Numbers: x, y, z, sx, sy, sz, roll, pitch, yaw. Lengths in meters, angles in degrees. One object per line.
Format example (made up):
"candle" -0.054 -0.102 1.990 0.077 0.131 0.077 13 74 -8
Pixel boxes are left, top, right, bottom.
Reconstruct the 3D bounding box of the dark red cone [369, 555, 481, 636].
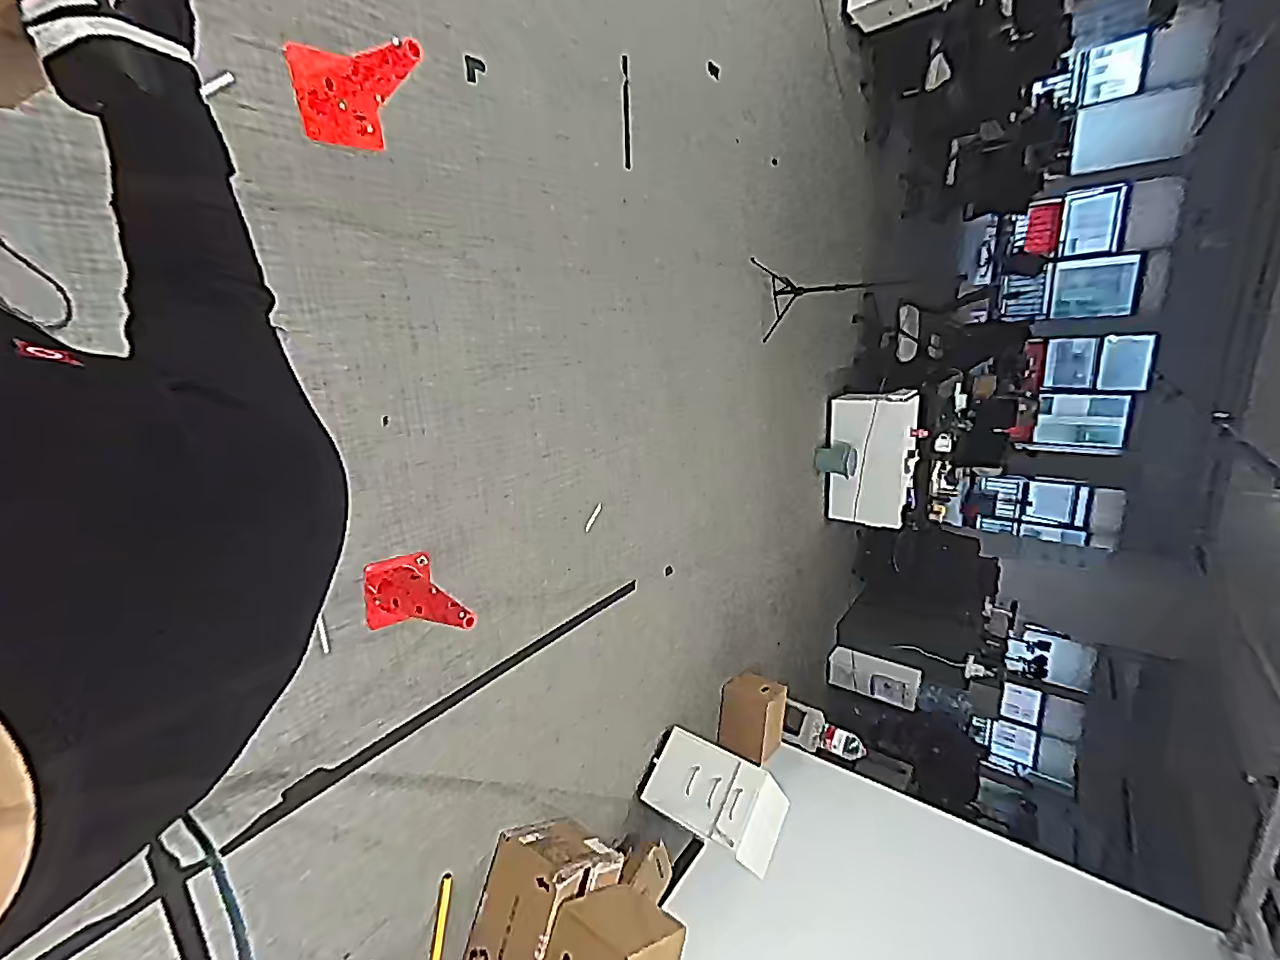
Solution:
"dark red cone" -0.571 0.352 1.497 0.201 0.394 0.202 -12 106 -50

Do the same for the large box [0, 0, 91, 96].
"large box" -0.599 -0.415 0.236 0.408 0.320 0.320 -25 126 -50

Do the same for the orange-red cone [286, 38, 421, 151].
"orange-red cone" -0.614 -0.920 1.229 0.198 0.360 0.199 -25 115 -49
